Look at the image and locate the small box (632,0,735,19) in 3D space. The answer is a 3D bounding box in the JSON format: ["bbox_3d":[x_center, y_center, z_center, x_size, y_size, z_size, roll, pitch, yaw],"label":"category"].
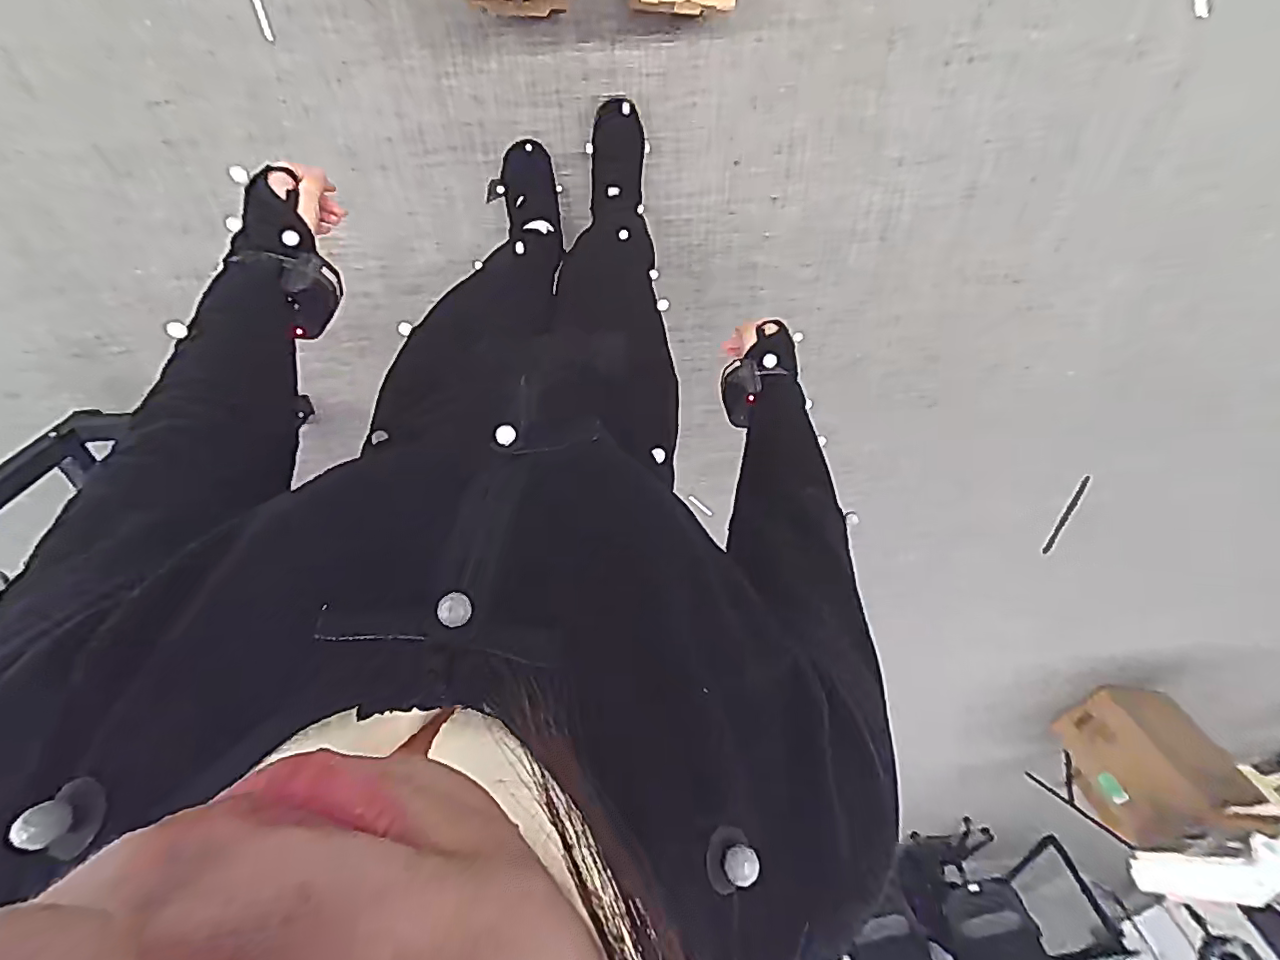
[{"bbox_3d":[0.075,-0.899,0.909,0.168,0.176,0.179,-1,127,-8],"label":"small box"}]

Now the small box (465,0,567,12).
[{"bbox_3d":[-0.205,-0.882,0.879,0.168,0.176,0.179,-4,127,-6],"label":"small box"}]
